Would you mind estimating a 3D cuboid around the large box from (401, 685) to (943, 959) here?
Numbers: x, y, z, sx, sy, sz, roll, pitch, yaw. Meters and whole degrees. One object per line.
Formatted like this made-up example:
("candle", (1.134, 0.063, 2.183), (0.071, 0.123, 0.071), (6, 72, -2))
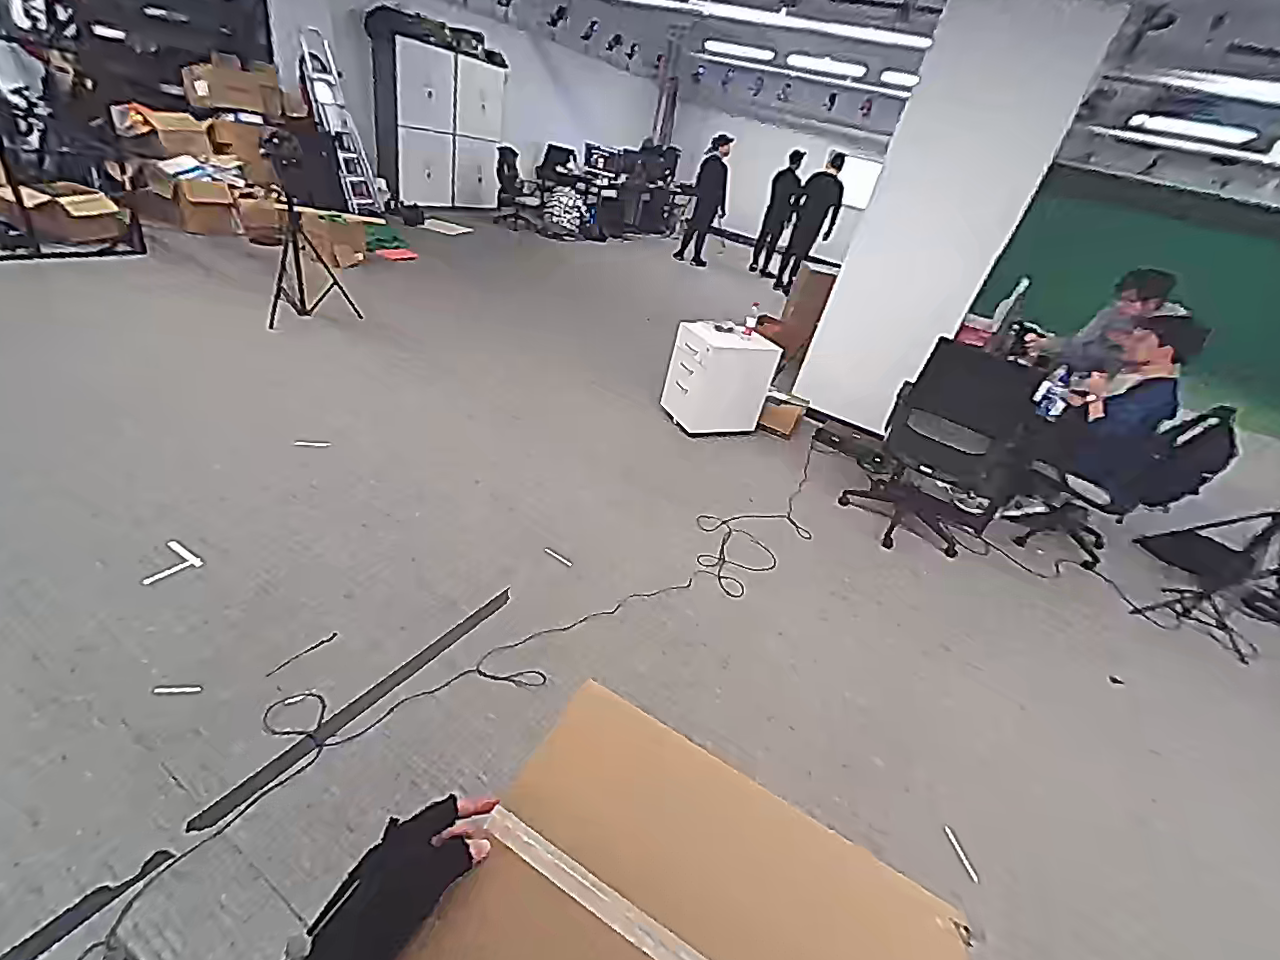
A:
("large box", (0.016, 0.498, 0.550), (0.408, 0.320, 0.320), (27, 45, 15))
